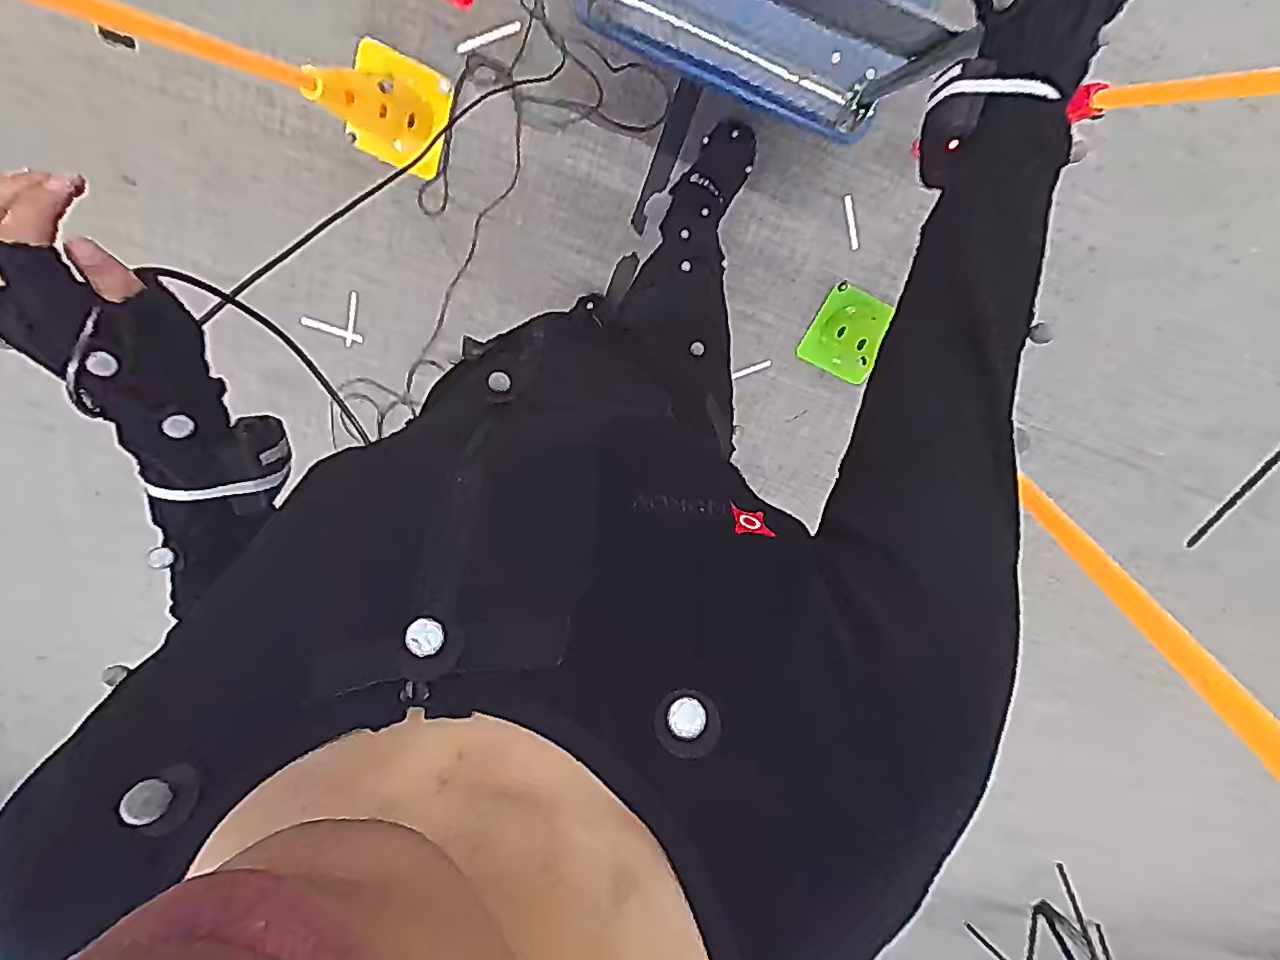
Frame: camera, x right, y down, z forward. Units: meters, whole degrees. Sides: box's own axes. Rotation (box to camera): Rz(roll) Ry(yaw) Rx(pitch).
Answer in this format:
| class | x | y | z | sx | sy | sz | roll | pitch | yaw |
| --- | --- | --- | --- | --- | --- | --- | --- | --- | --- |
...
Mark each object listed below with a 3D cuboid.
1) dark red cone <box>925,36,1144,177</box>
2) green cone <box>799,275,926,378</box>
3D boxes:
| class | x | y | z | sx | sy | sz | roll | pitch | yaw |
| --- | --- | --- | --- | --- | --- | --- | --- | --- | --- |
| dark red cone | 0.713 | -0.680 | 0.961 | 0.201 | 0.394 | 0.202 | 18 | 118 | -10 |
| green cone | 0.522 | -0.297 | 1.191 | 0.202 | 0.368 | 0.200 | 22 | 116 | -12 |
